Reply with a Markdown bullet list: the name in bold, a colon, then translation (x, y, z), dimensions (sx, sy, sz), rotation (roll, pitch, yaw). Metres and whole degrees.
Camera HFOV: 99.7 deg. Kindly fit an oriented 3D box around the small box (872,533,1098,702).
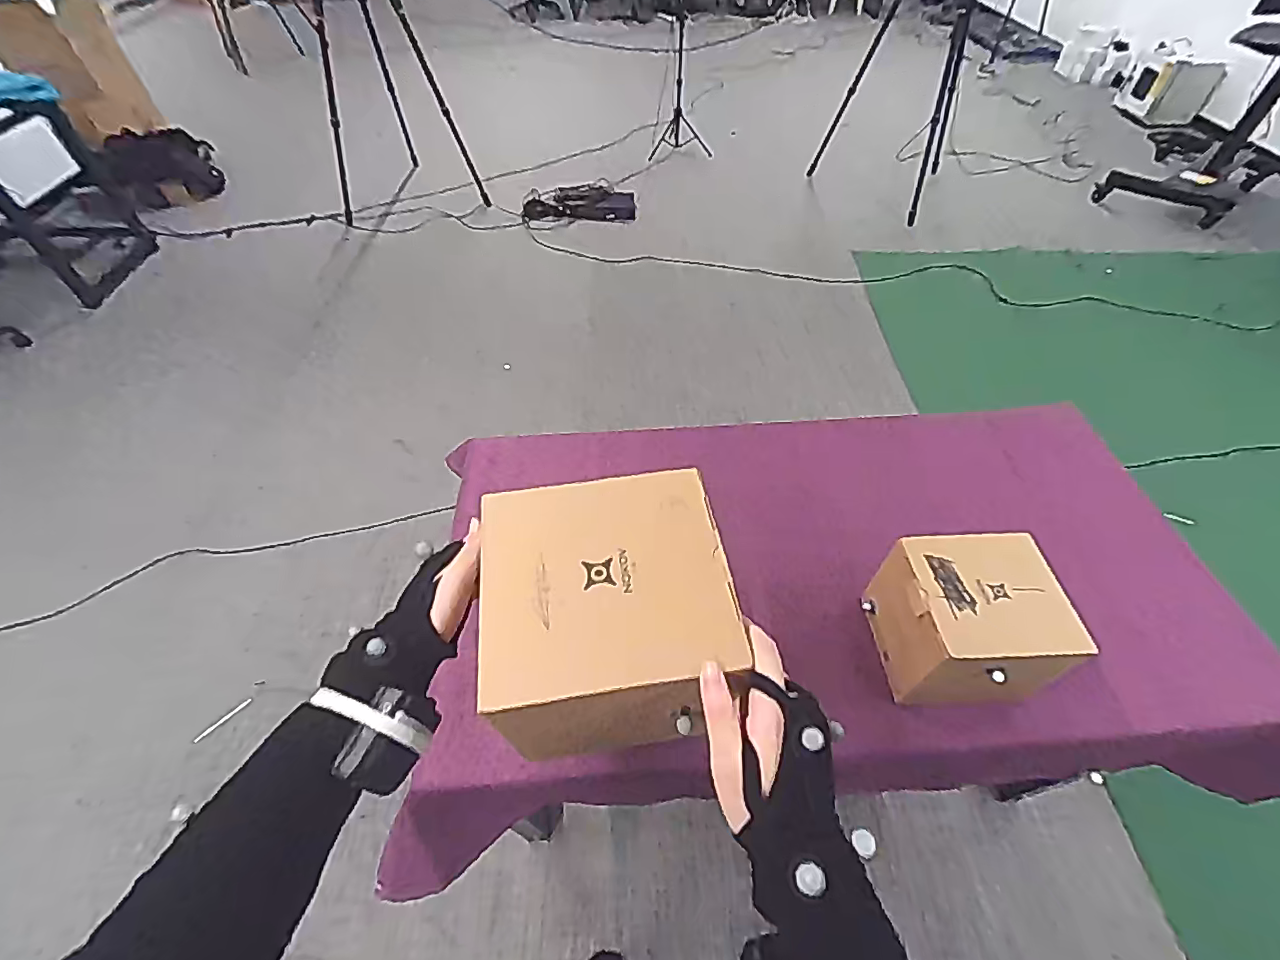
- **small box**: translation (0.430, 0.186, 0.718), dimensions (0.179, 0.176, 0.168), rotation (-1, 51, -1)
